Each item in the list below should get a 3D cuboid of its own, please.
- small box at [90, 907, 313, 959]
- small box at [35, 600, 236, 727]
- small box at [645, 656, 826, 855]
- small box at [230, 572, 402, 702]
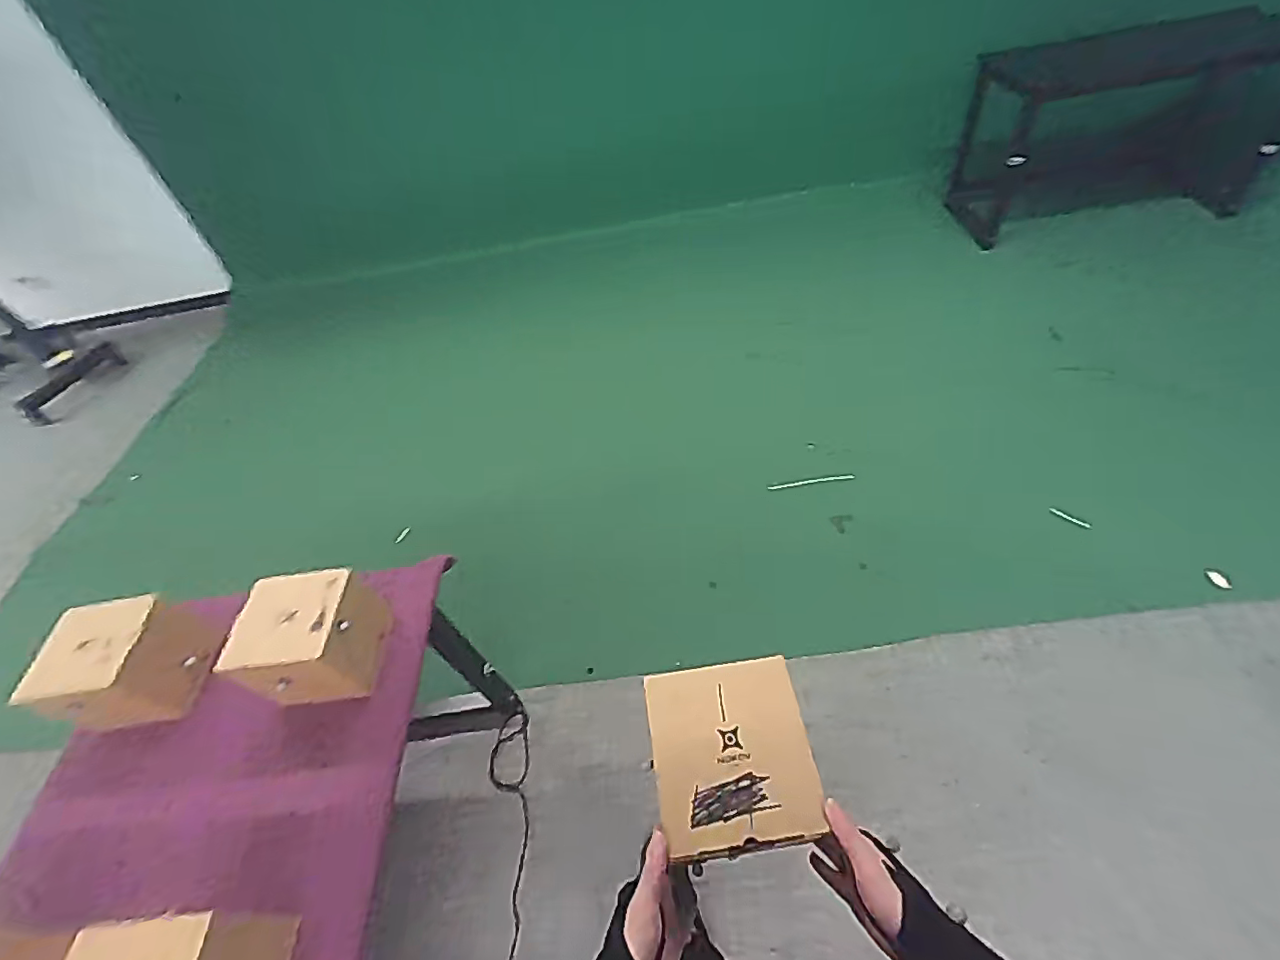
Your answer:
[{"bbox_3d":[-0.557,0.644,0.670,0.179,0.176,0.168,-11,50,6],"label":"small box"},{"bbox_3d":[-0.916,0.345,1.003,0.179,0.176,0.168,-10,52,3],"label":"small box"},{"bbox_3d":[0.102,0.329,0.639,0.168,0.176,0.179,-8,53,0],"label":"small box"},{"bbox_3d":[-0.567,0.287,0.972,0.179,0.176,0.168,-9,50,5],"label":"small box"}]
